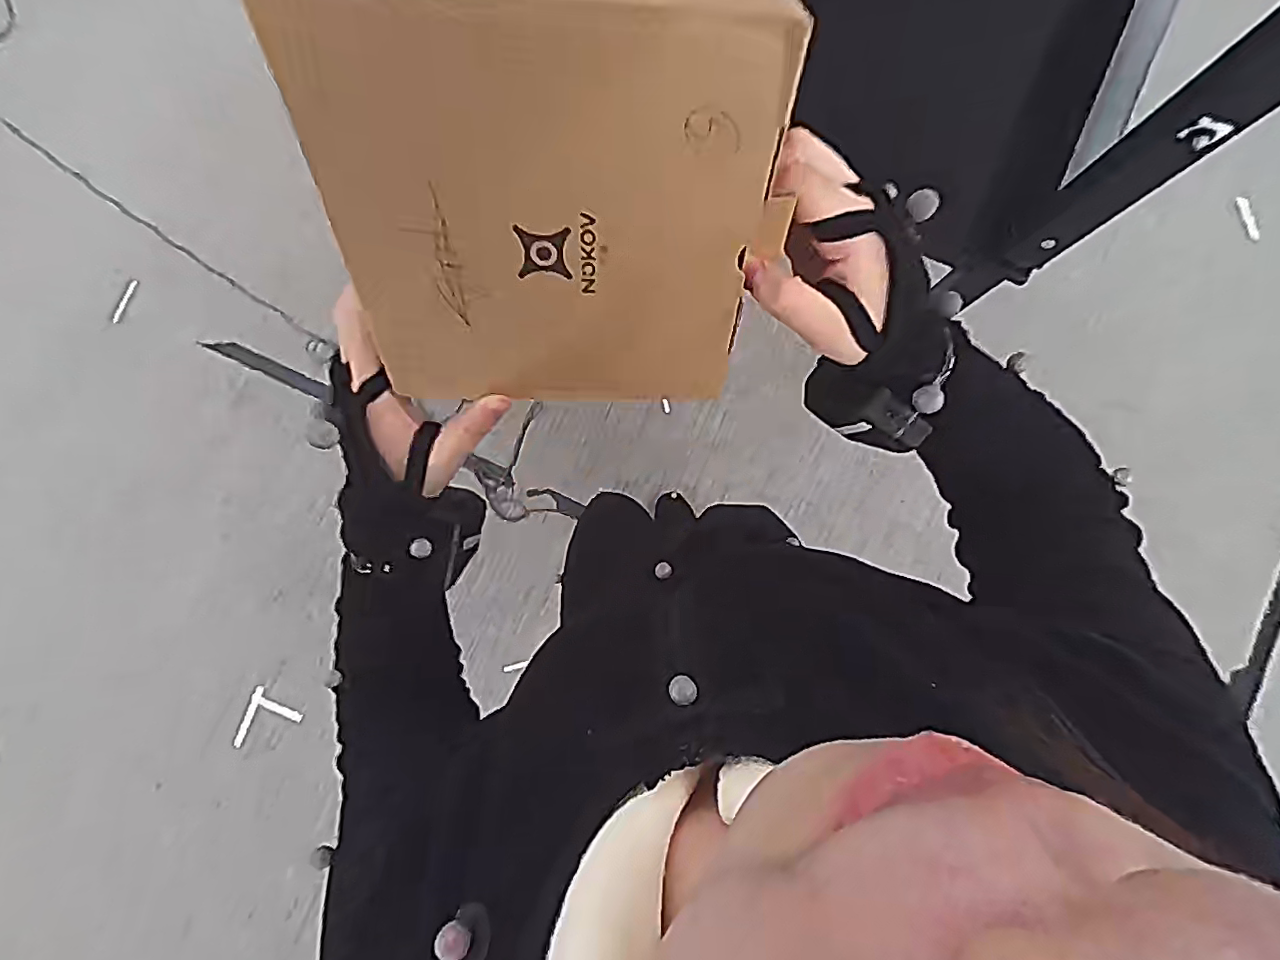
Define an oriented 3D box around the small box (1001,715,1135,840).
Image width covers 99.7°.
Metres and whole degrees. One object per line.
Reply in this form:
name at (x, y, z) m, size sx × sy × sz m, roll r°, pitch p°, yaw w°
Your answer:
small box at (1.041, 0.724, 1.335) m, size 0.168 × 0.176 × 0.179 m, roll 29°, pitch 89°, yaw 4°
